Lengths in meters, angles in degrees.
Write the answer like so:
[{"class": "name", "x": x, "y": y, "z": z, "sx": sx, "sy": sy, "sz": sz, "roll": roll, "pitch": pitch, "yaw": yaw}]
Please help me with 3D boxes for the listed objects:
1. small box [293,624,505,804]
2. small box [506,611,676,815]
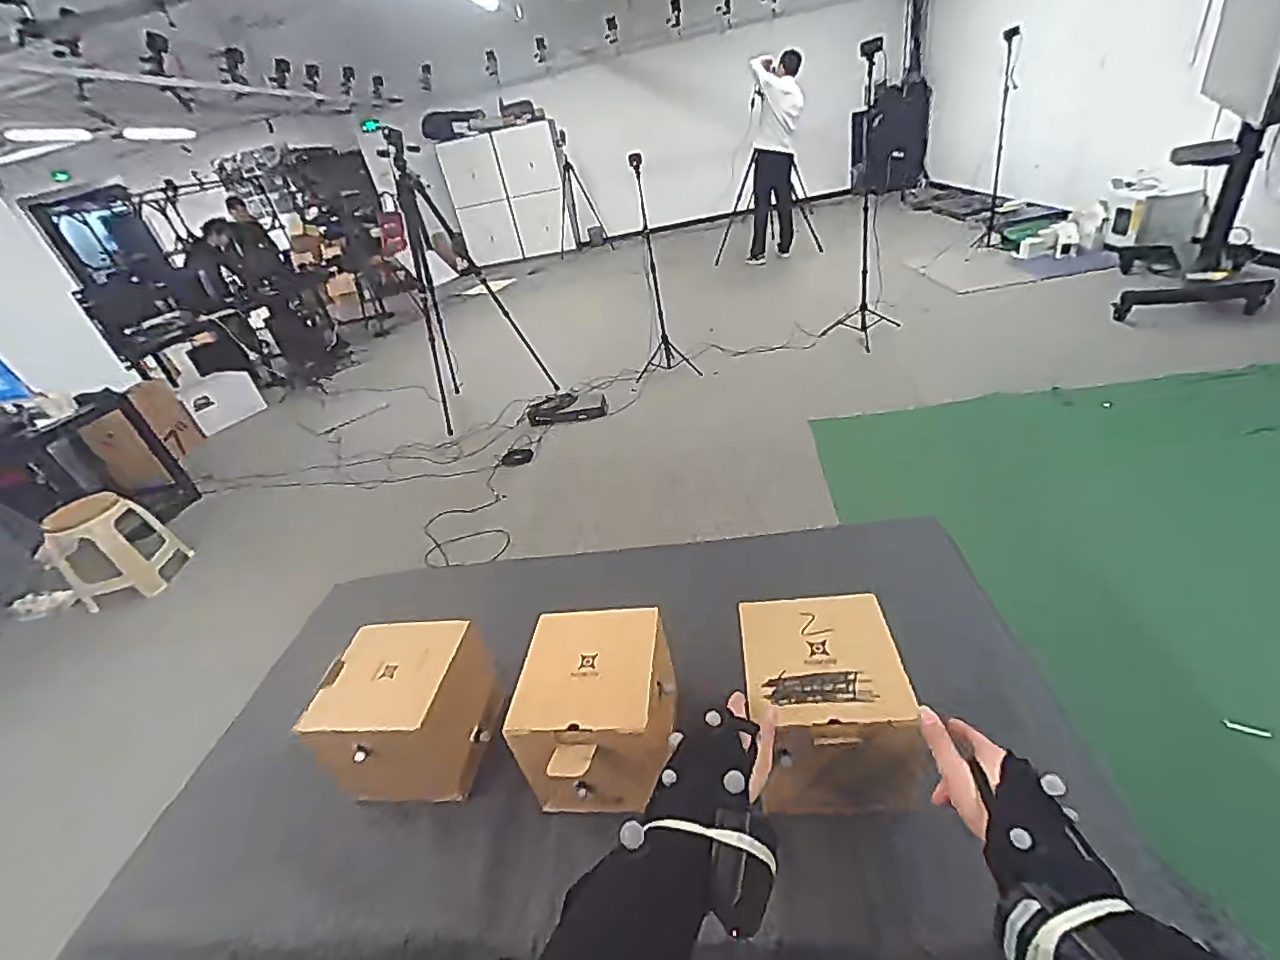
[{"class": "small box", "x": -0.312, "y": 0.318, "z": 0.741, "sx": 0.179, "sy": 0.176, "sz": 0.168, "roll": -5, "pitch": 33, "yaw": 11}, {"class": "small box", "x": -0.047, "y": 0.292, "z": 0.690, "sx": 0.168, "sy": 0.176, "sz": 0.179, "roll": -6, "pitch": 33, "yaw": 10}]
